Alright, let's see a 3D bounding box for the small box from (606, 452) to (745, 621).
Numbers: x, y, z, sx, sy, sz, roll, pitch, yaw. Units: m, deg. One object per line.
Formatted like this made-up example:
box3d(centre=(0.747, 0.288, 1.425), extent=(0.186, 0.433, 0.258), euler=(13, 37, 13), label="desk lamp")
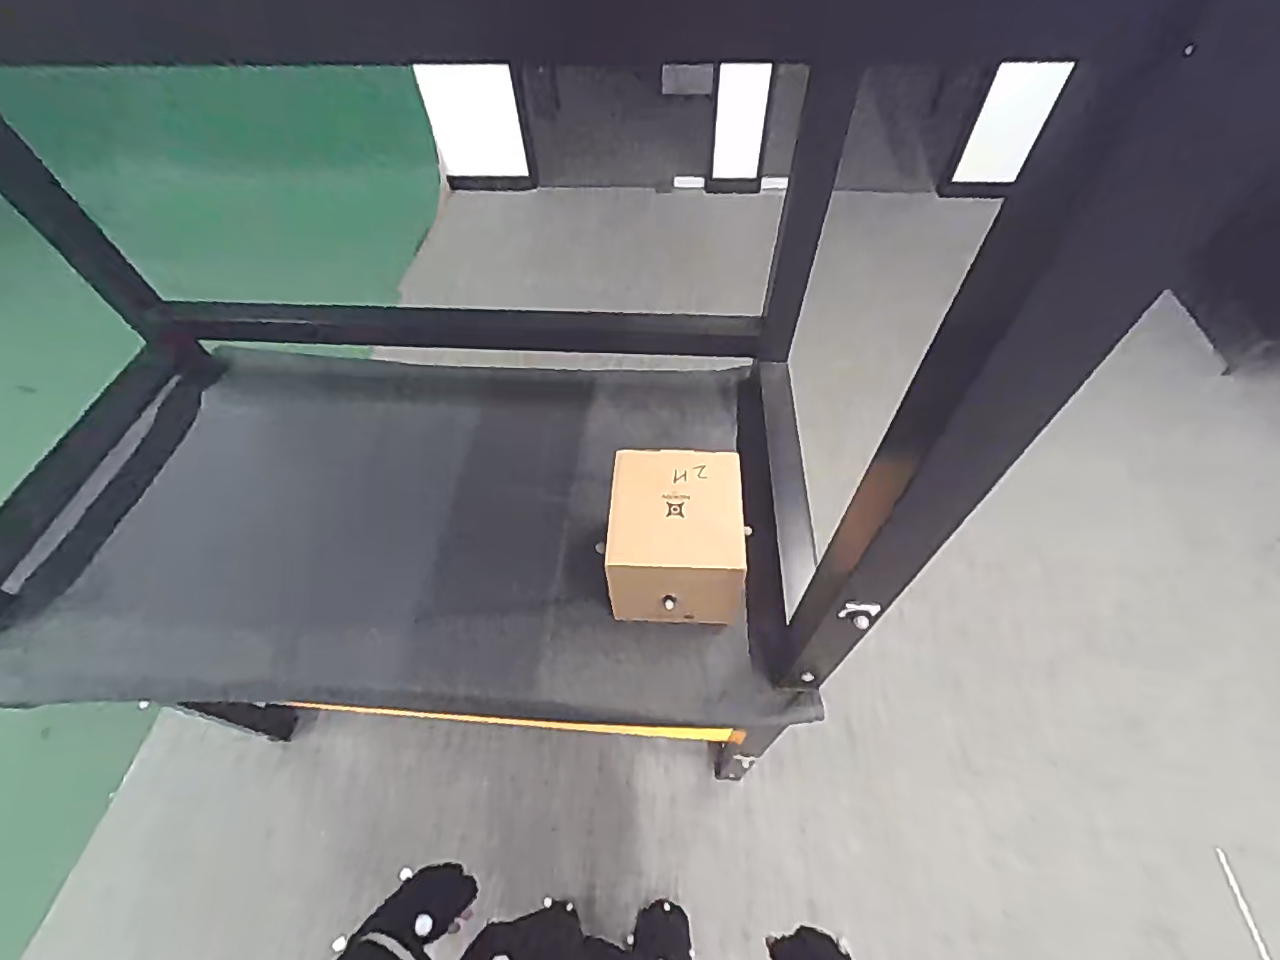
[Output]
box3d(centre=(0.049, 0.081, 0.738), extent=(0.168, 0.176, 0.179), euler=(2, 54, 3), label="small box")
